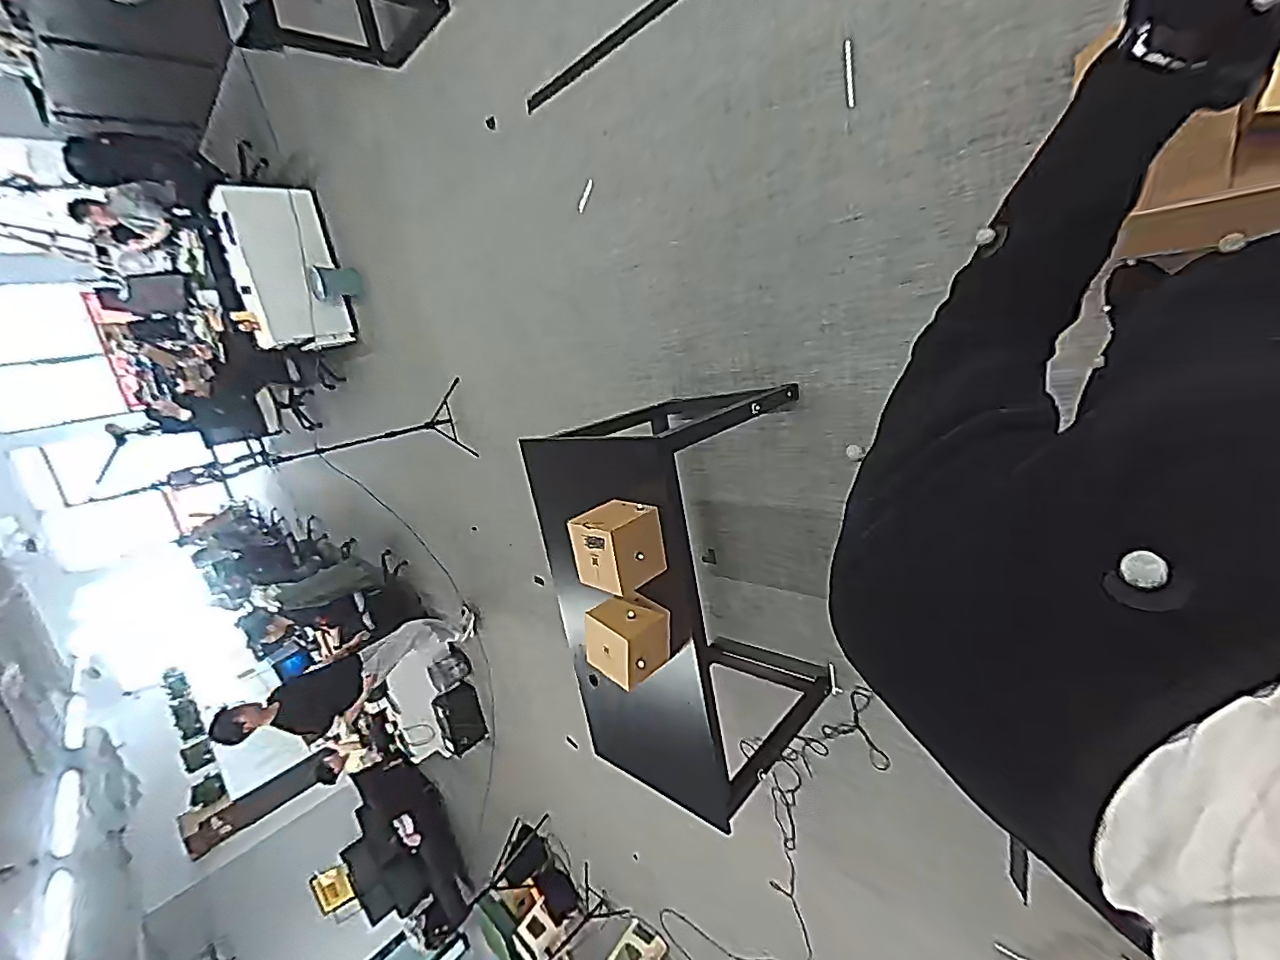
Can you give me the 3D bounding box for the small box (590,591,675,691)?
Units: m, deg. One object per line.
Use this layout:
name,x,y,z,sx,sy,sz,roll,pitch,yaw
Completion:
small box,-0.018,0.430,1.481,0.168,0.176,0.179,21,123,40

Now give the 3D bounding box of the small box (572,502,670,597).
small box,-0.045,0.169,1.382,0.168,0.176,0.179,7,114,45
